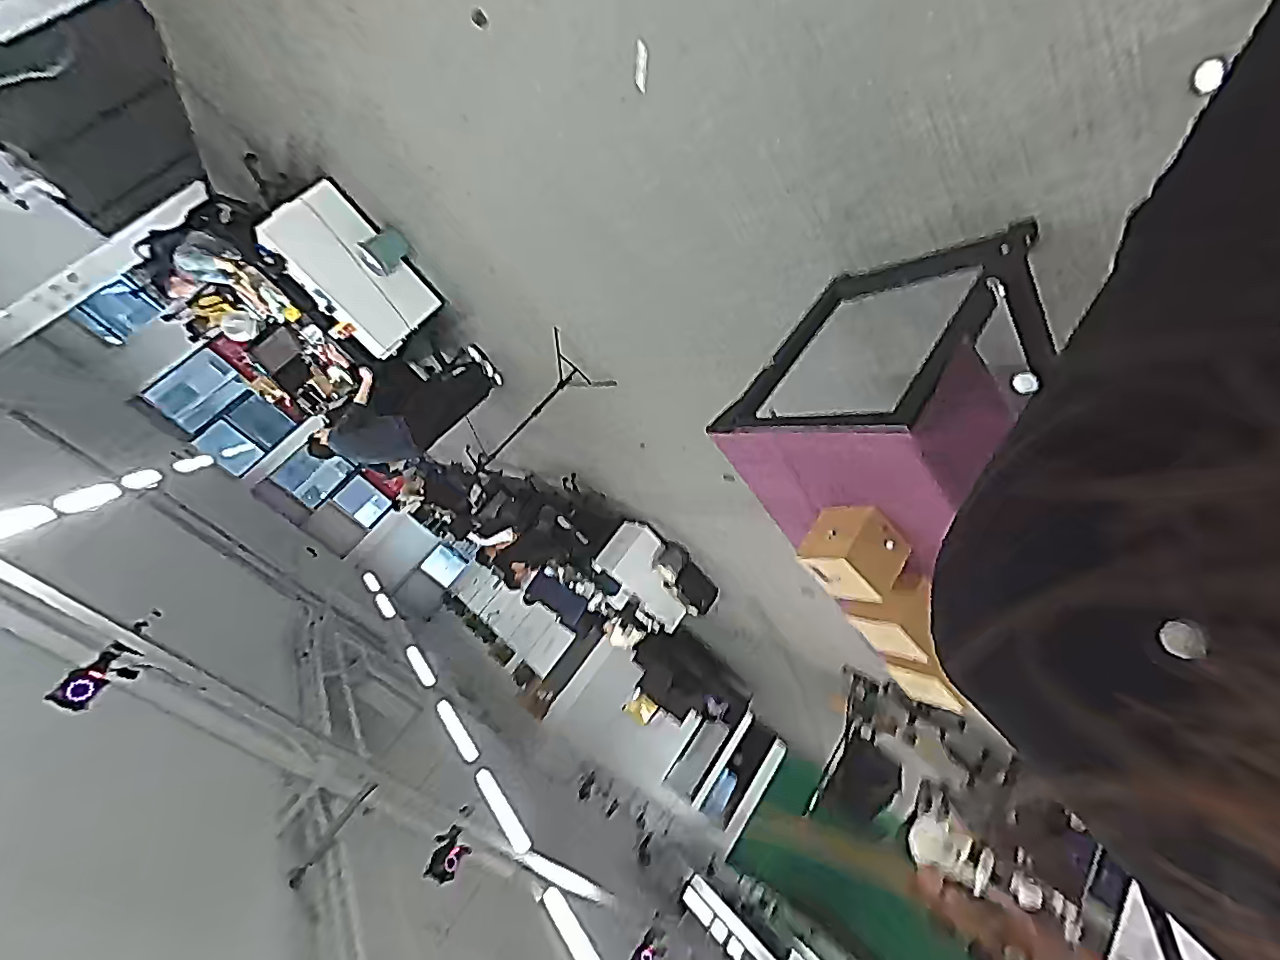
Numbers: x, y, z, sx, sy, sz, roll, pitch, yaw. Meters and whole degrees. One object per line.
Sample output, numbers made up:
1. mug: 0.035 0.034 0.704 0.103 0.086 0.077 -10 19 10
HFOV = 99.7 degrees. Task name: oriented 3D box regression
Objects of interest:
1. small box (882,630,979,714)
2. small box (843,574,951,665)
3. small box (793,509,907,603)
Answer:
1. small box: 0.856 0.542 1.583 0.168 0.176 0.179 47 160 -18
2. small box: 0.703 0.368 1.480 0.168 0.176 0.179 45 160 -18
3. small box: 0.536 0.188 1.378 0.168 0.176 0.179 44 159 -14
